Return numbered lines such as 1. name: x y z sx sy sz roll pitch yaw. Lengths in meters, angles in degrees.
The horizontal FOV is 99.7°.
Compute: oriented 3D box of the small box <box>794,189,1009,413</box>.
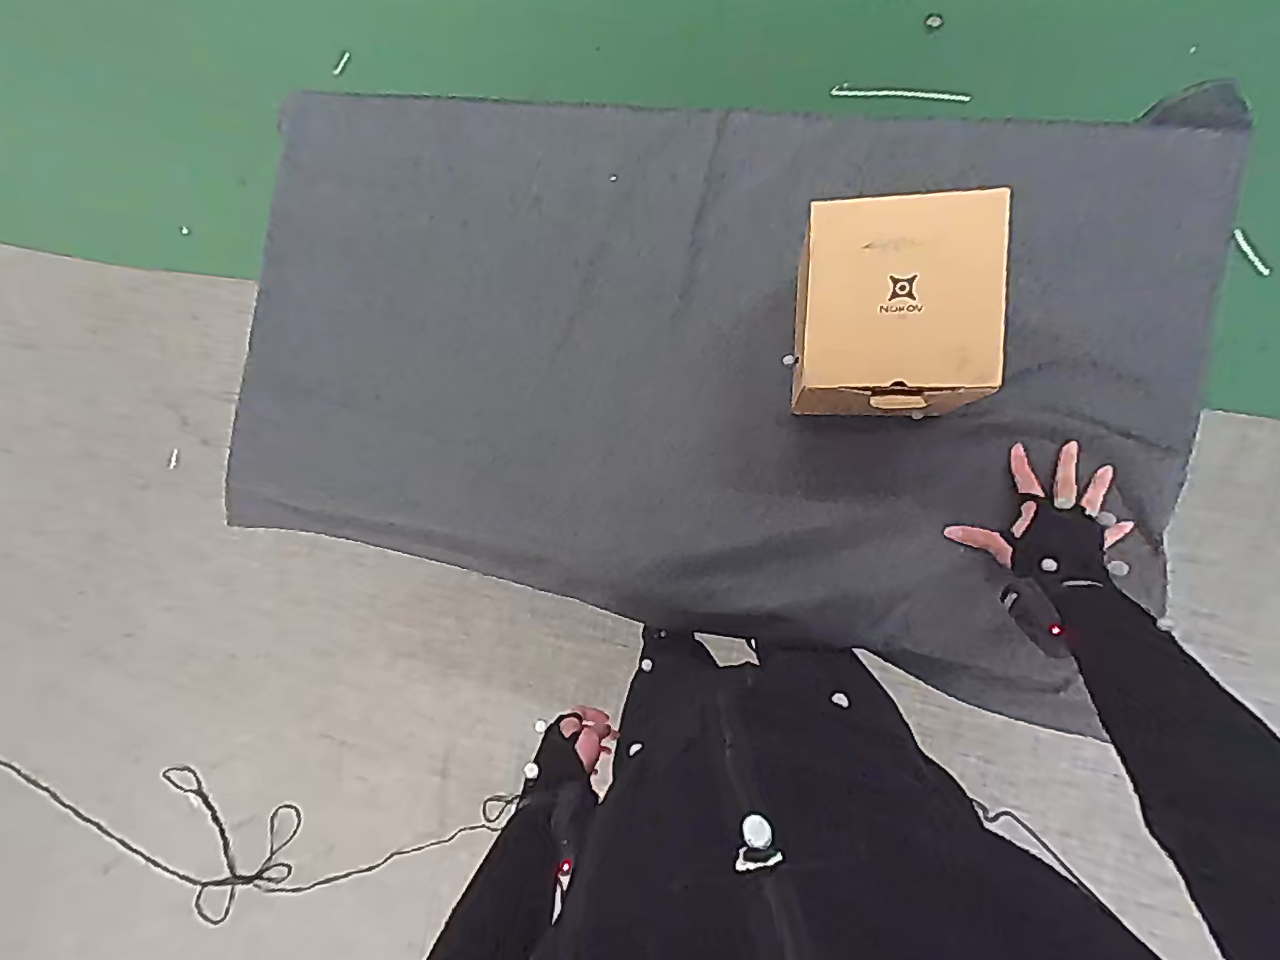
1. small box: 0.253 -0.167 0.562 0.168 0.176 0.179 2 88 12
